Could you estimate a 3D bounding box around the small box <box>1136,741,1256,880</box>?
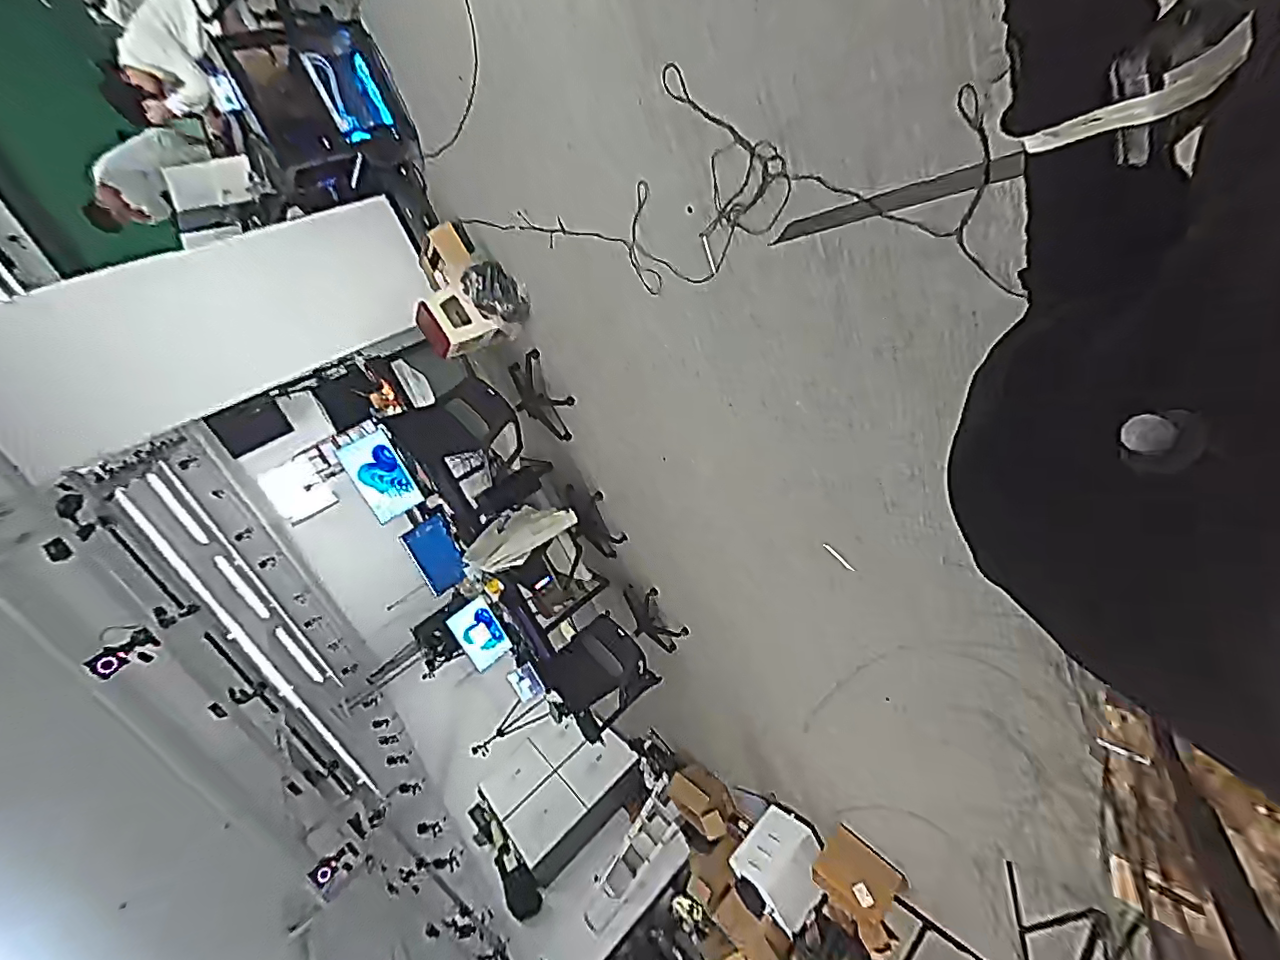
[{"bbox_3d":[1.273,0.744,1.239,0.168,0.176,0.179,8,129,56],"label":"small box"}]
